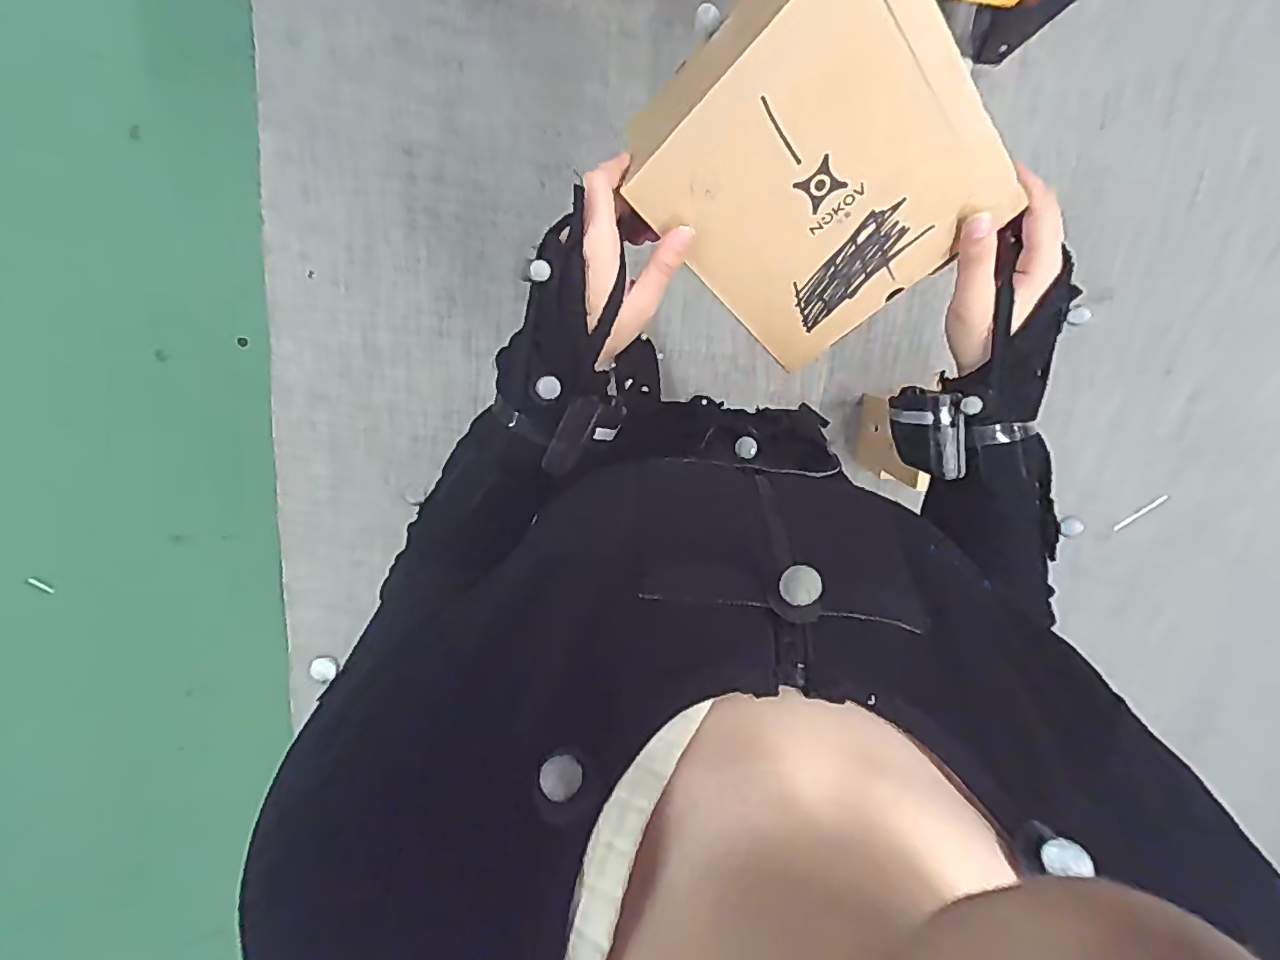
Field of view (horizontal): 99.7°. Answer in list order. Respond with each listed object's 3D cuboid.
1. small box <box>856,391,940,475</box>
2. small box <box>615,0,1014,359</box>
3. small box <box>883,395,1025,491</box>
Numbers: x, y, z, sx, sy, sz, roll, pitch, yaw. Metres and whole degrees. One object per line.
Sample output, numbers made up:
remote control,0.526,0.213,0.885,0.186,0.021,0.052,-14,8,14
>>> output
small box,0.618,-0.112,1.249,0.168,0.176,0.179,3,104,1
small box,0.103,-0.226,0.369,0.179,0.176,0.168,36,124,-29
small box,0.619,-0.081,1.088,0.179,0.176,0.168,3,104,2
